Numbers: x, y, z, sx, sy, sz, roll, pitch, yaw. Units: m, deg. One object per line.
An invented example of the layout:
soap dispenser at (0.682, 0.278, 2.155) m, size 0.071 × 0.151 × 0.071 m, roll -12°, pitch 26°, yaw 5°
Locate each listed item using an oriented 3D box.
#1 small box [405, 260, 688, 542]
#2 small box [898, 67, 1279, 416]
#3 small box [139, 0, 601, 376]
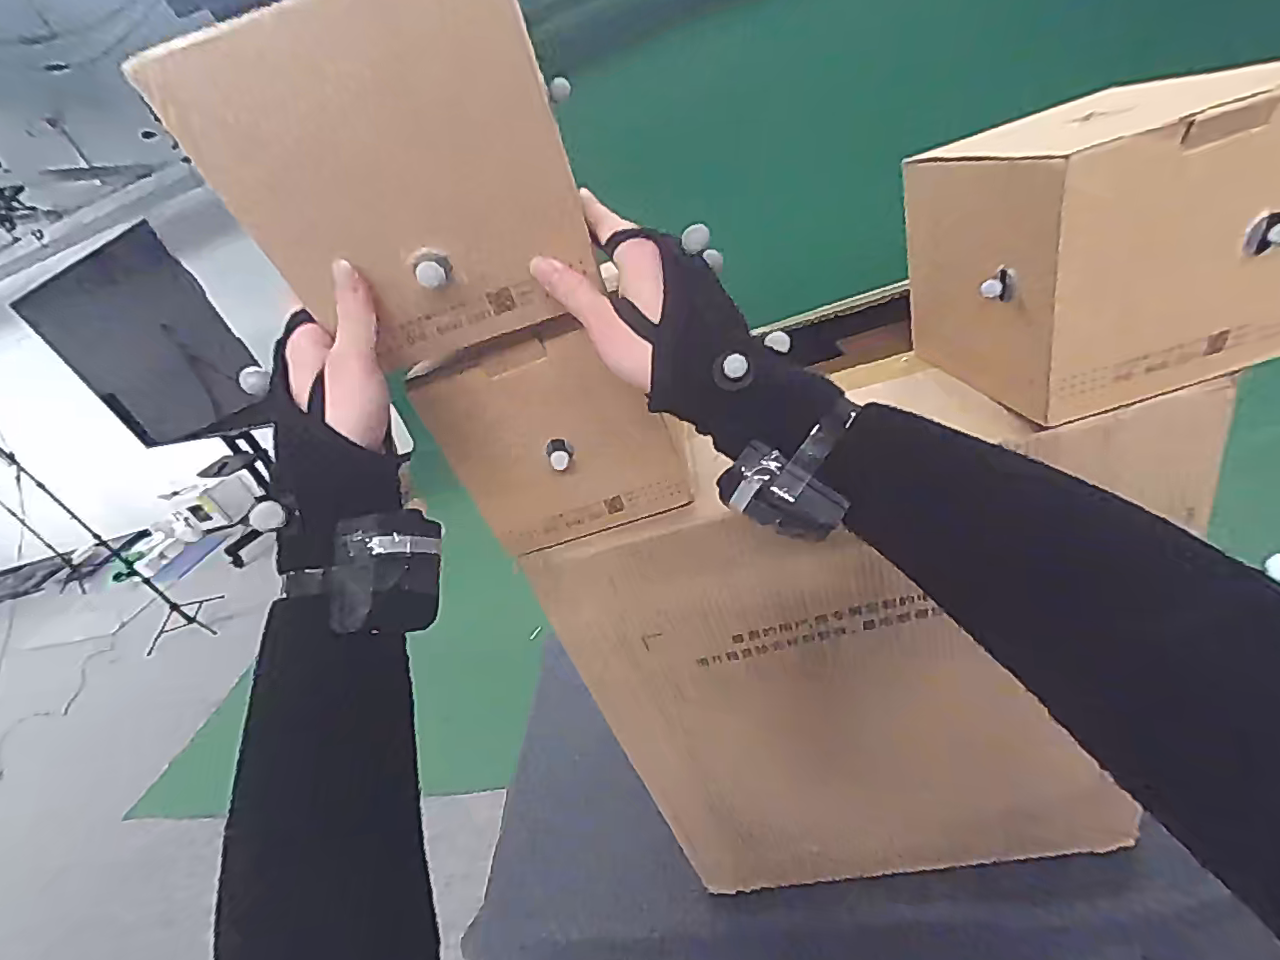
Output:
small box at (-0.064, -0.065, 0.473) m, size 0.168 × 0.176 × 0.179 m, roll -18°, pitch 30°, yaw 9°
small box at (0.312, -0.161, 0.389) m, size 0.168 × 0.176 × 0.179 m, roll -17°, pitch 29°, yaw 4°
small box at (-0.132, -0.195, 0.342) m, size 0.168 × 0.176 × 0.179 m, roll -17°, pitch 45°, yaw 4°
